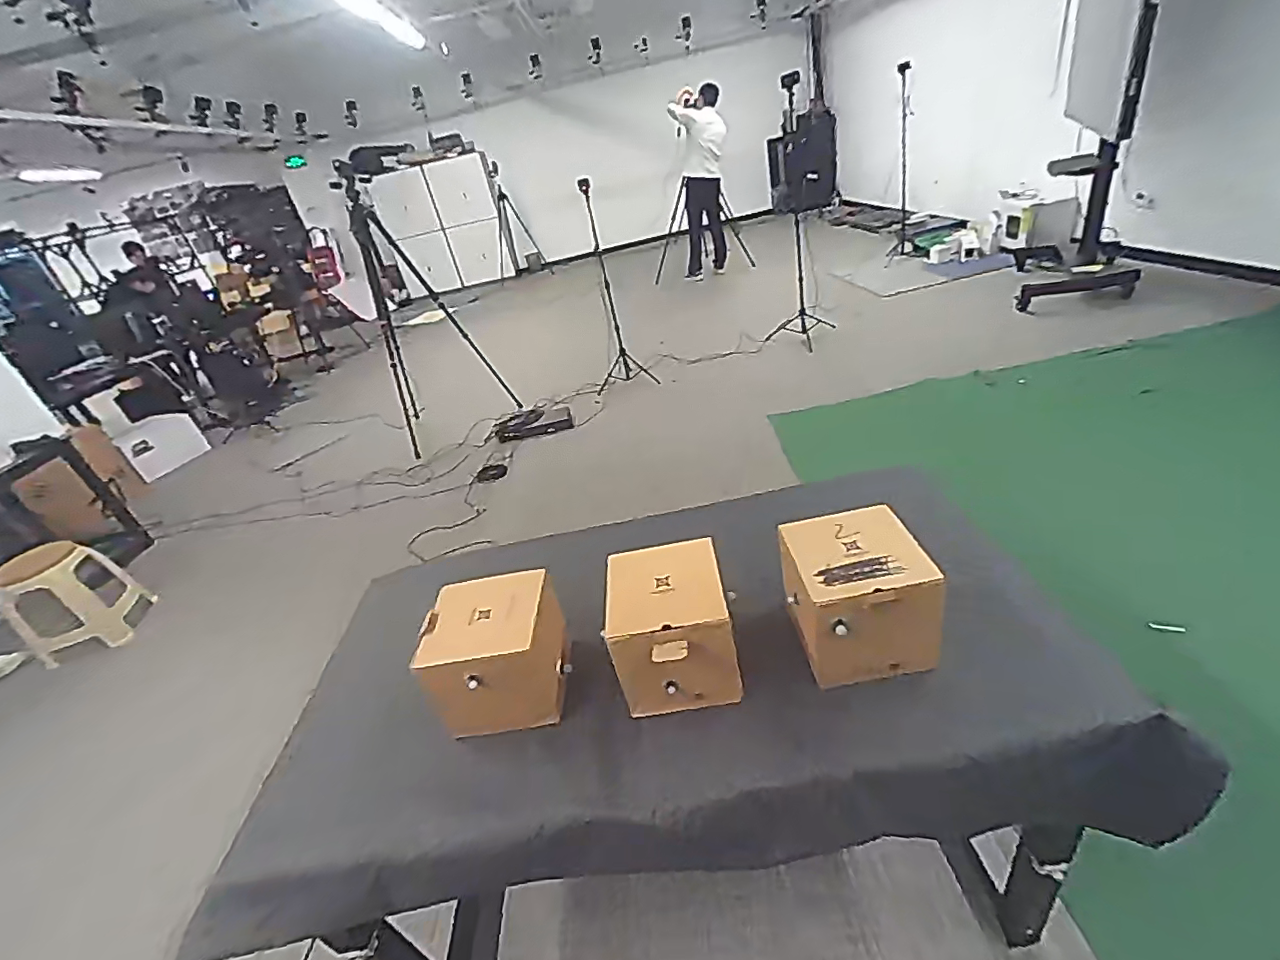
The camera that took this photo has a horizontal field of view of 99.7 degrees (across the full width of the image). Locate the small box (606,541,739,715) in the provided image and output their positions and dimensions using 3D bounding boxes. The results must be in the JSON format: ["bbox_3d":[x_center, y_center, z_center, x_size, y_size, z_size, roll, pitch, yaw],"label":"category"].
[{"bbox_3d":[0.048,0.219,0.811,0.168,0.176,0.179,-11,31,4],"label":"small box"}]

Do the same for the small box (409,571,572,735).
[{"bbox_3d":[-0.216,0.268,0.835,0.179,0.176,0.168,-10,32,4],"label":"small box"}]
